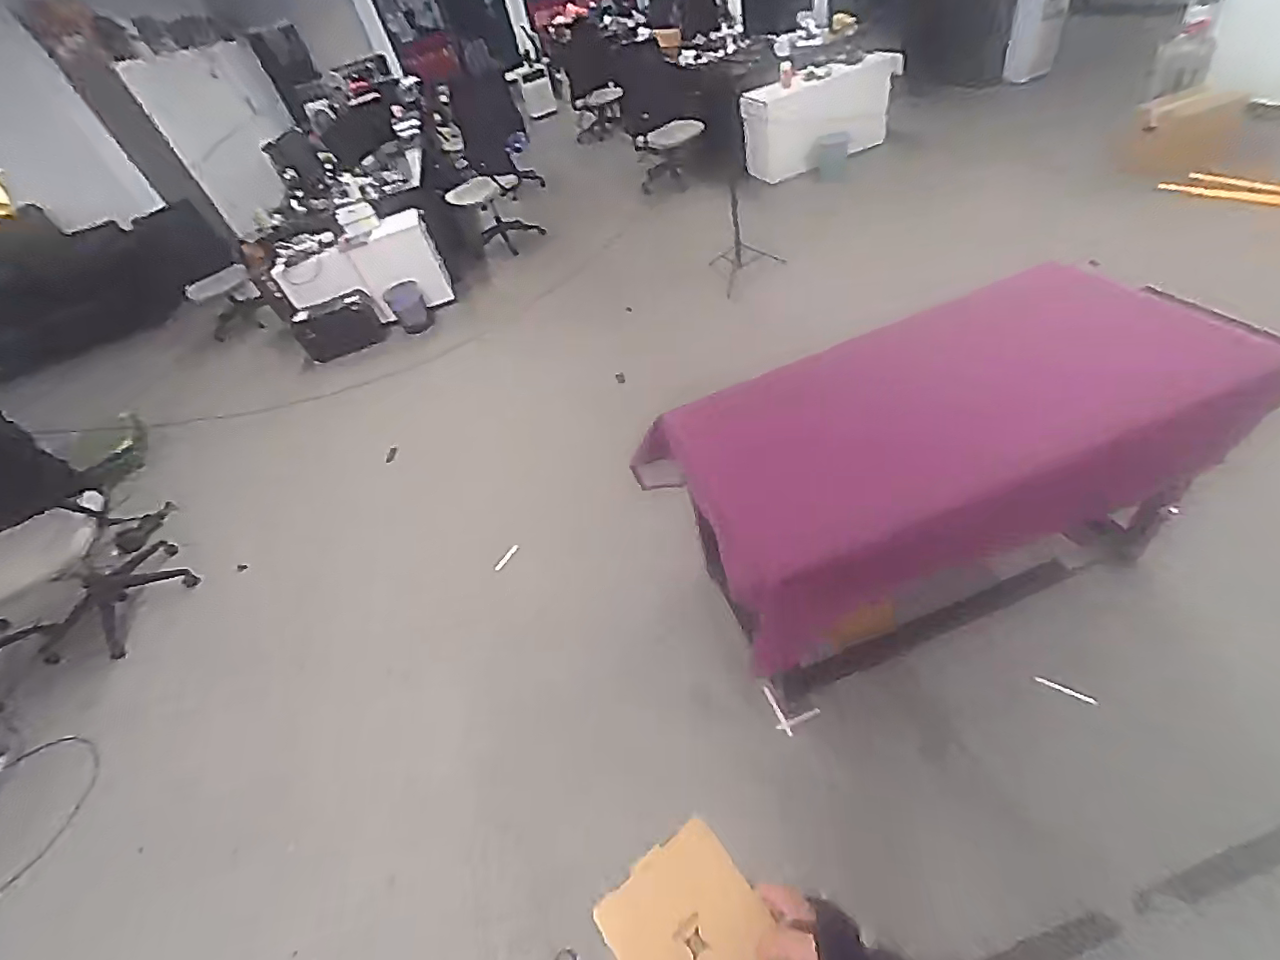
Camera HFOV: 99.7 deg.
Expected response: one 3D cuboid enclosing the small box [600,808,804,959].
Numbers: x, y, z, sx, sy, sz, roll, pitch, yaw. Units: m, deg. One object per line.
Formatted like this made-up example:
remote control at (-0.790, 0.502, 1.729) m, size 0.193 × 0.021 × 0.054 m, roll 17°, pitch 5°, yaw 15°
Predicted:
small box at (0.075, 0.555, 0.668) m, size 0.168 × 0.176 × 0.179 m, roll -33°, pitch 51°, yaw -17°
